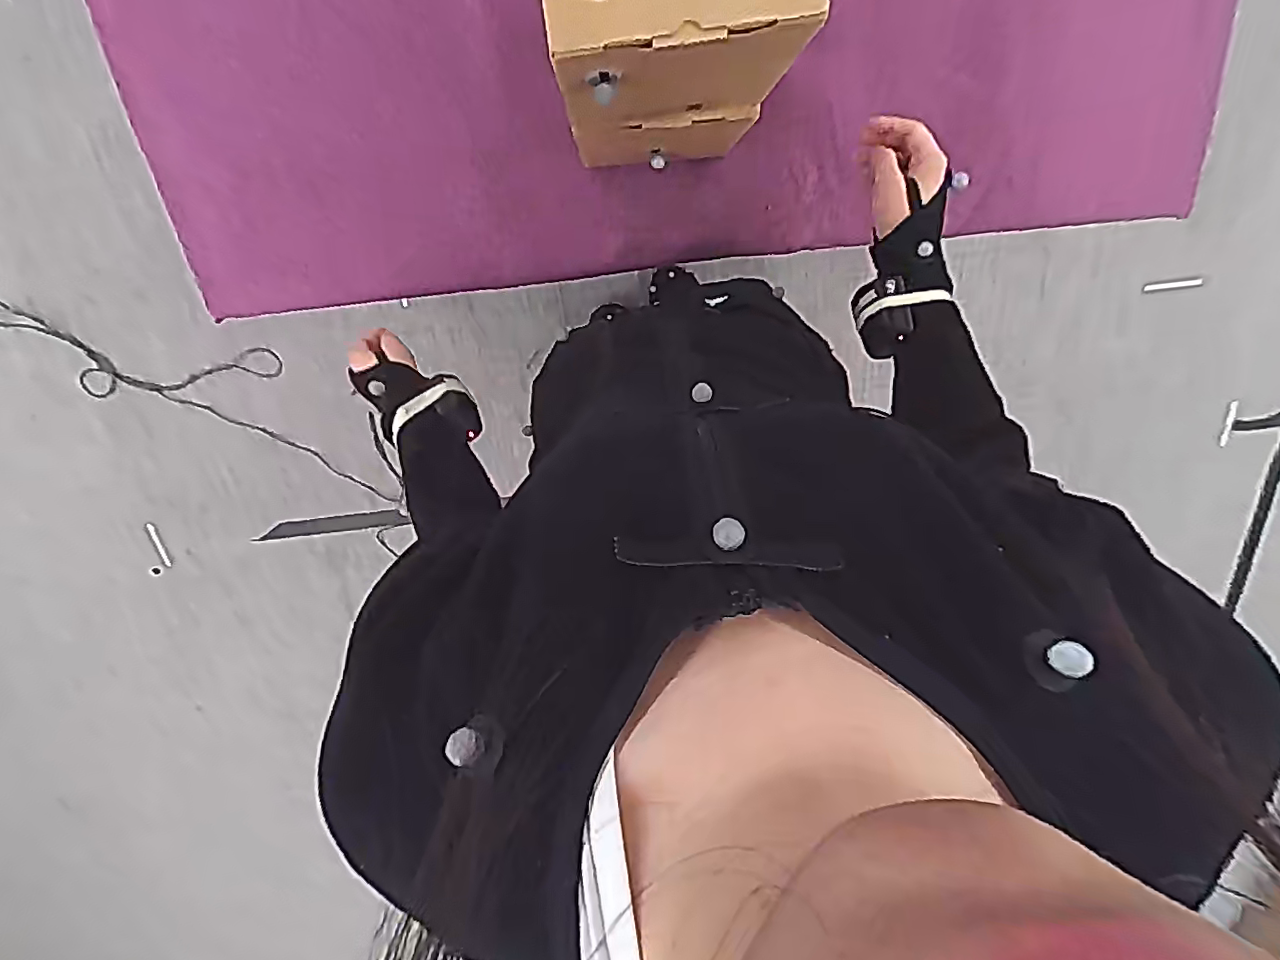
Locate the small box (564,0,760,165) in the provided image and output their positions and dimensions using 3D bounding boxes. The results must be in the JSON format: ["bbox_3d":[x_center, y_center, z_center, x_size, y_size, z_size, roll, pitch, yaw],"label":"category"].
[{"bbox_3d":[0.014,-0.422,0.518,0.168,0.176,0.179,-5,111,0],"label":"small box"}]
